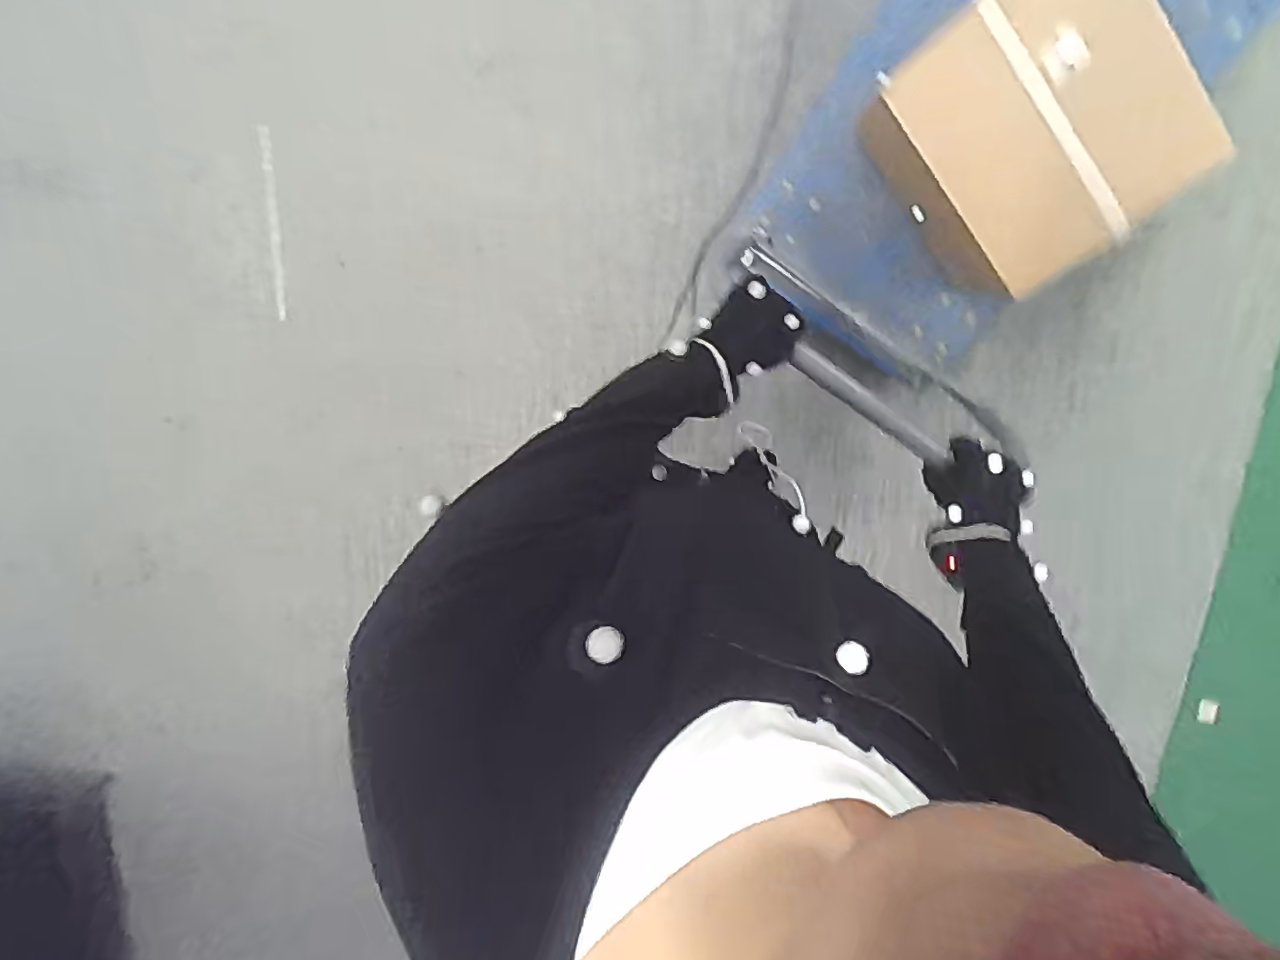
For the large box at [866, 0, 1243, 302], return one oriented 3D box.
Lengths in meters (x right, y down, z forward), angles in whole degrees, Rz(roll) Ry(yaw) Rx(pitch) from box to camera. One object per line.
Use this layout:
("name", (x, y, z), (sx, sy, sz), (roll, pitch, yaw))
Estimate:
("large box", (0.651, -0.572, 0.928), (0.320, 0.320, 0.408), (-35, 99, 24))
